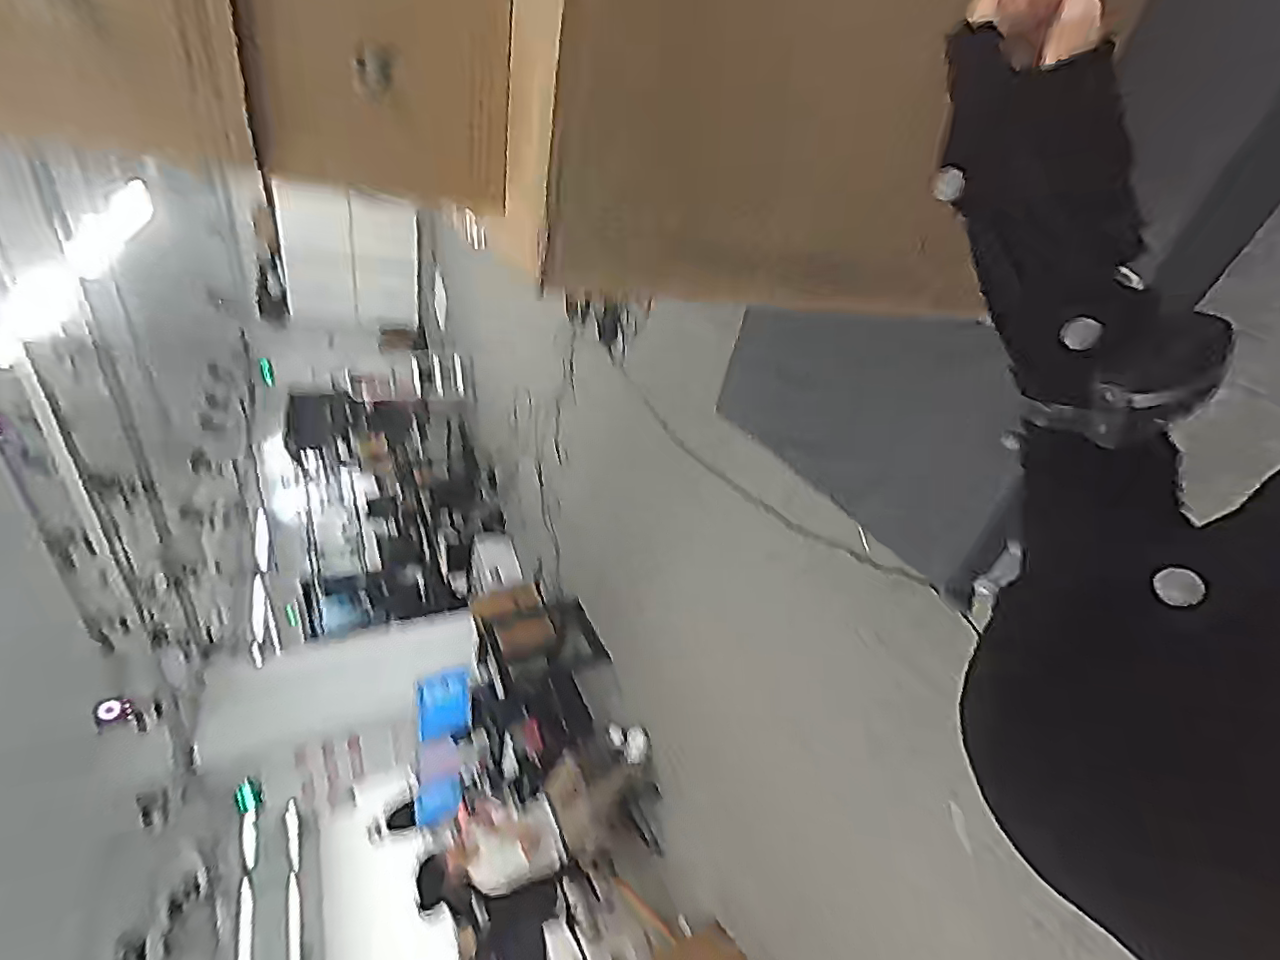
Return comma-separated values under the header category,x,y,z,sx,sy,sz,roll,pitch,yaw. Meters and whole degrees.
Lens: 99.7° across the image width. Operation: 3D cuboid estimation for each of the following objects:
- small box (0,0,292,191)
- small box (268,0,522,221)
category,x,y,z,sx,sy,sz,roll,pitch,yaw
small box,-0.336,-0.293,0.351,0.179,0.176,0.168,44,134,46
small box,-0.200,-0.322,0.437,0.168,0.176,0.179,44,135,46
